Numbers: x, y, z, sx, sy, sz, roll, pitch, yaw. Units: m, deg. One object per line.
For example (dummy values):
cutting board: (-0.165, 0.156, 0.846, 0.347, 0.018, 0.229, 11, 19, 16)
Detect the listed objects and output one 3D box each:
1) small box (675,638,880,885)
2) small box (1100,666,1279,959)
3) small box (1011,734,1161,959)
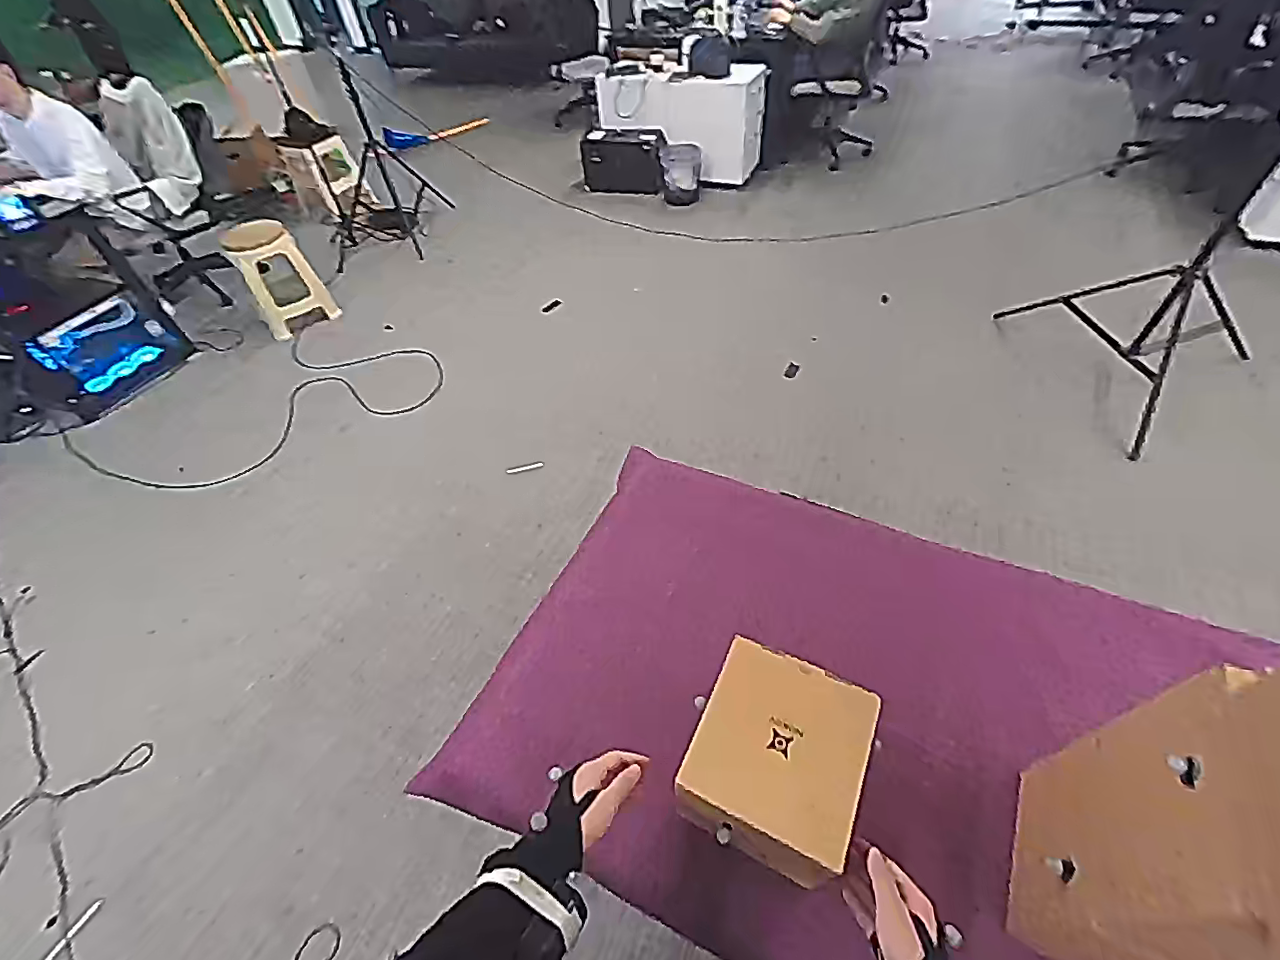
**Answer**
small box: (0.151, 0.320, 0.614, 0.168, 0.176, 0.179, 19, 52, 20)
small box: (0.480, 0.279, 0.398, 0.168, 0.176, 0.179, 20, 54, 22)
small box: (0.488, 0.389, 0.520, 0.168, 0.176, 0.179, 21, 53, 21)
